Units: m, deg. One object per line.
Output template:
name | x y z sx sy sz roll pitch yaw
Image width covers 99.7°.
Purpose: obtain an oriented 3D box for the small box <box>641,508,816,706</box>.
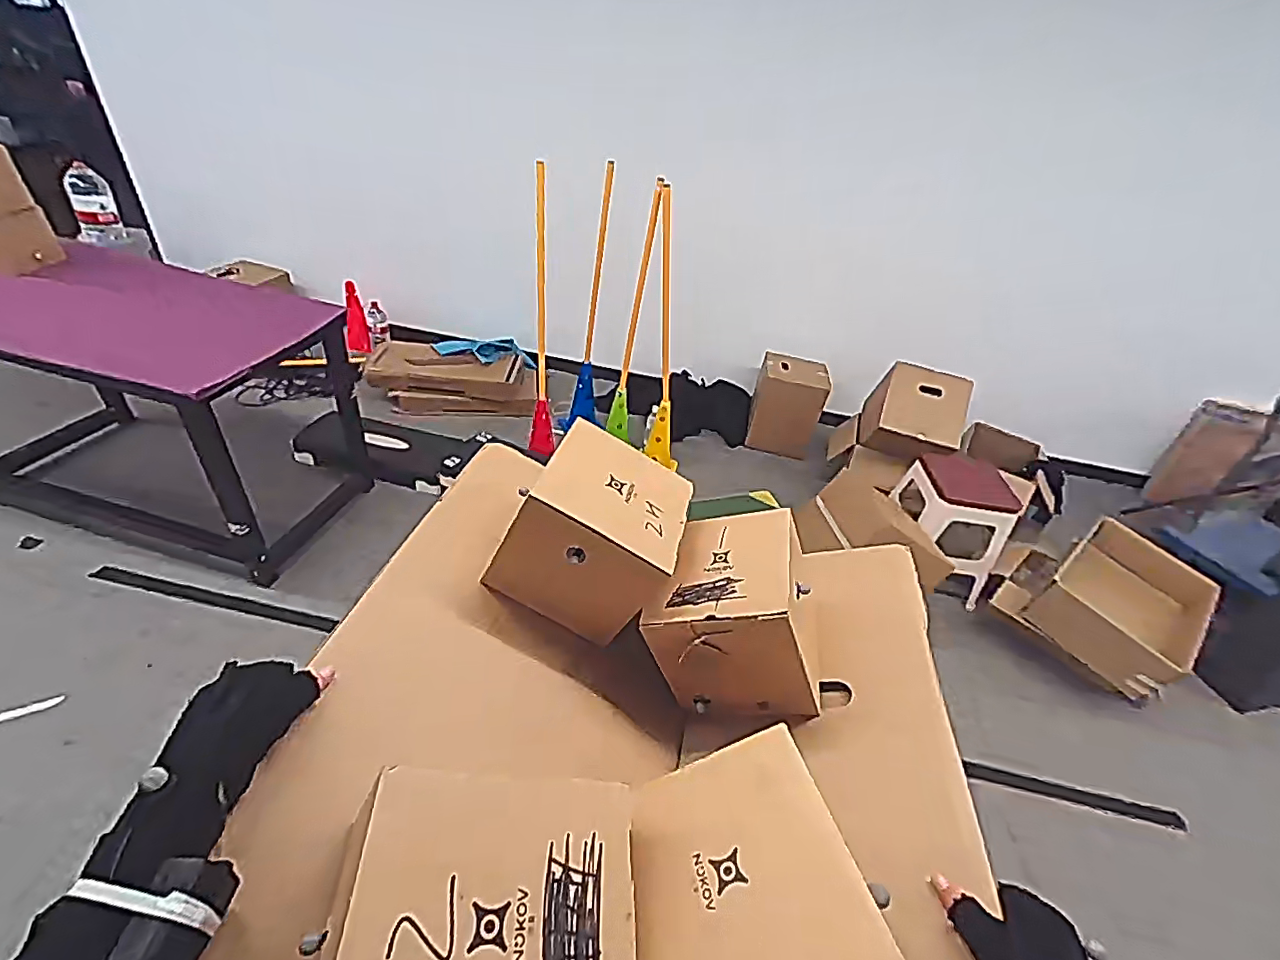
small box | 0.121 0.162 0.680 0.168 0.176 0.179 -10 30 23
